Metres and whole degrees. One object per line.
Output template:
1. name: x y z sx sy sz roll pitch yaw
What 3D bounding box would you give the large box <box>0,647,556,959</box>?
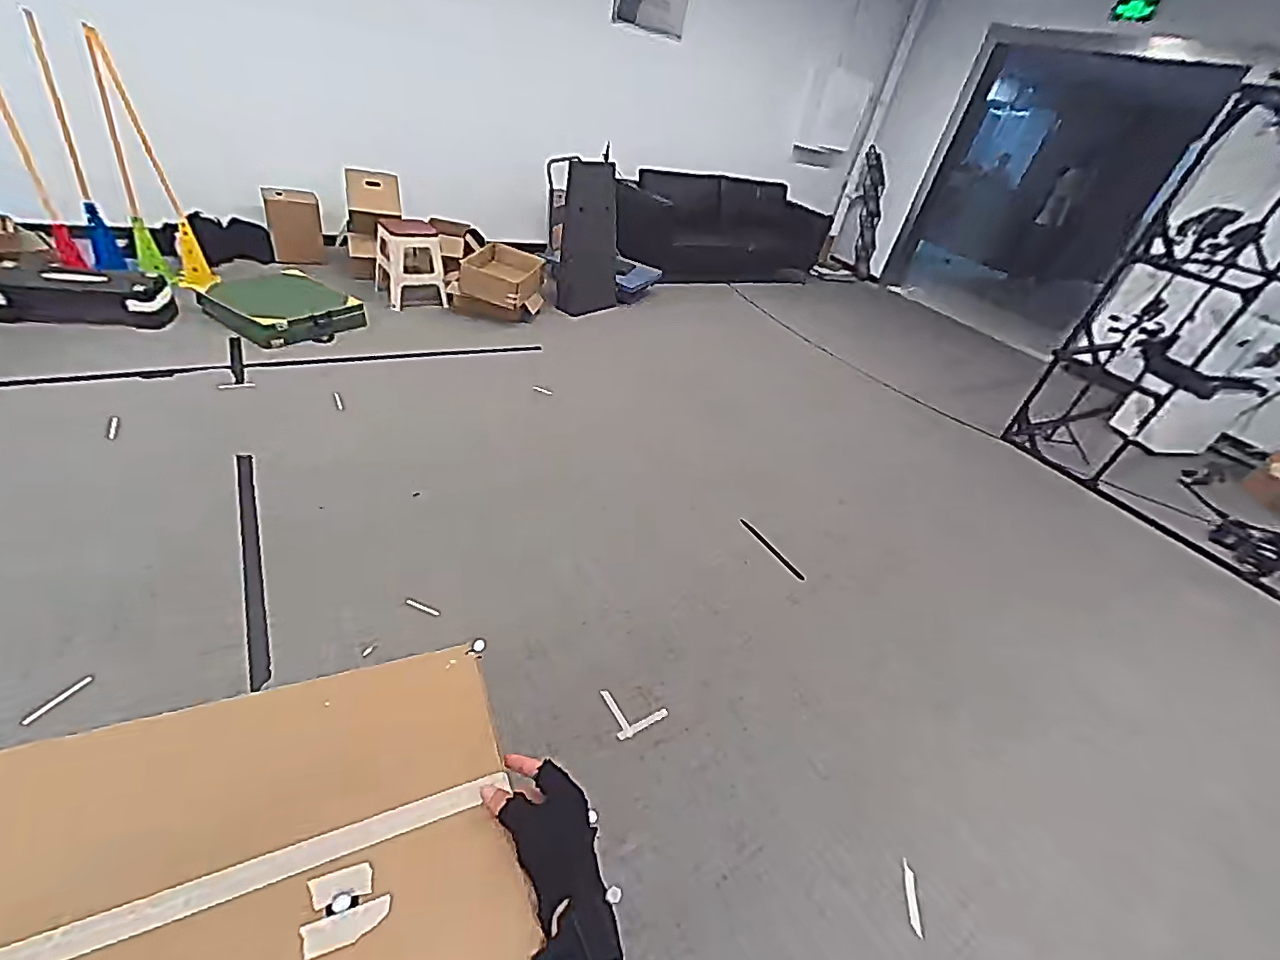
1. large box: -0.337 0.419 0.512 0.408 0.320 0.320 -5 44 -28
